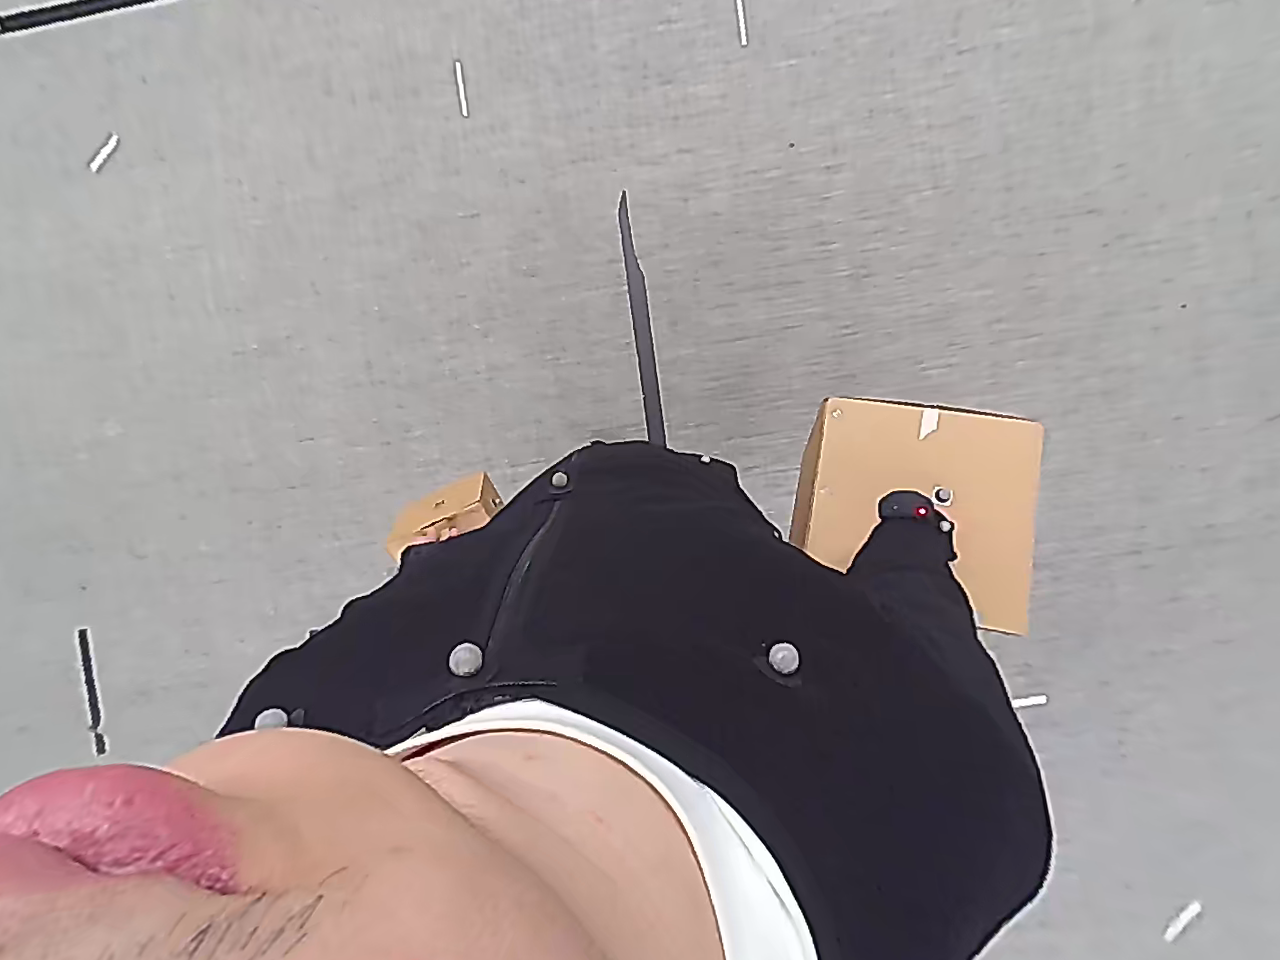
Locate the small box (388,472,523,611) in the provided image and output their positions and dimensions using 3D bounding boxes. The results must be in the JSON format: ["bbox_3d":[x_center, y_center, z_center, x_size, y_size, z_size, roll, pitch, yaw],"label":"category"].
[{"bbox_3d":[-0.322,0.114,0.986,0.168,0.179,0.176,-25,111,-4],"label":"small box"}]
